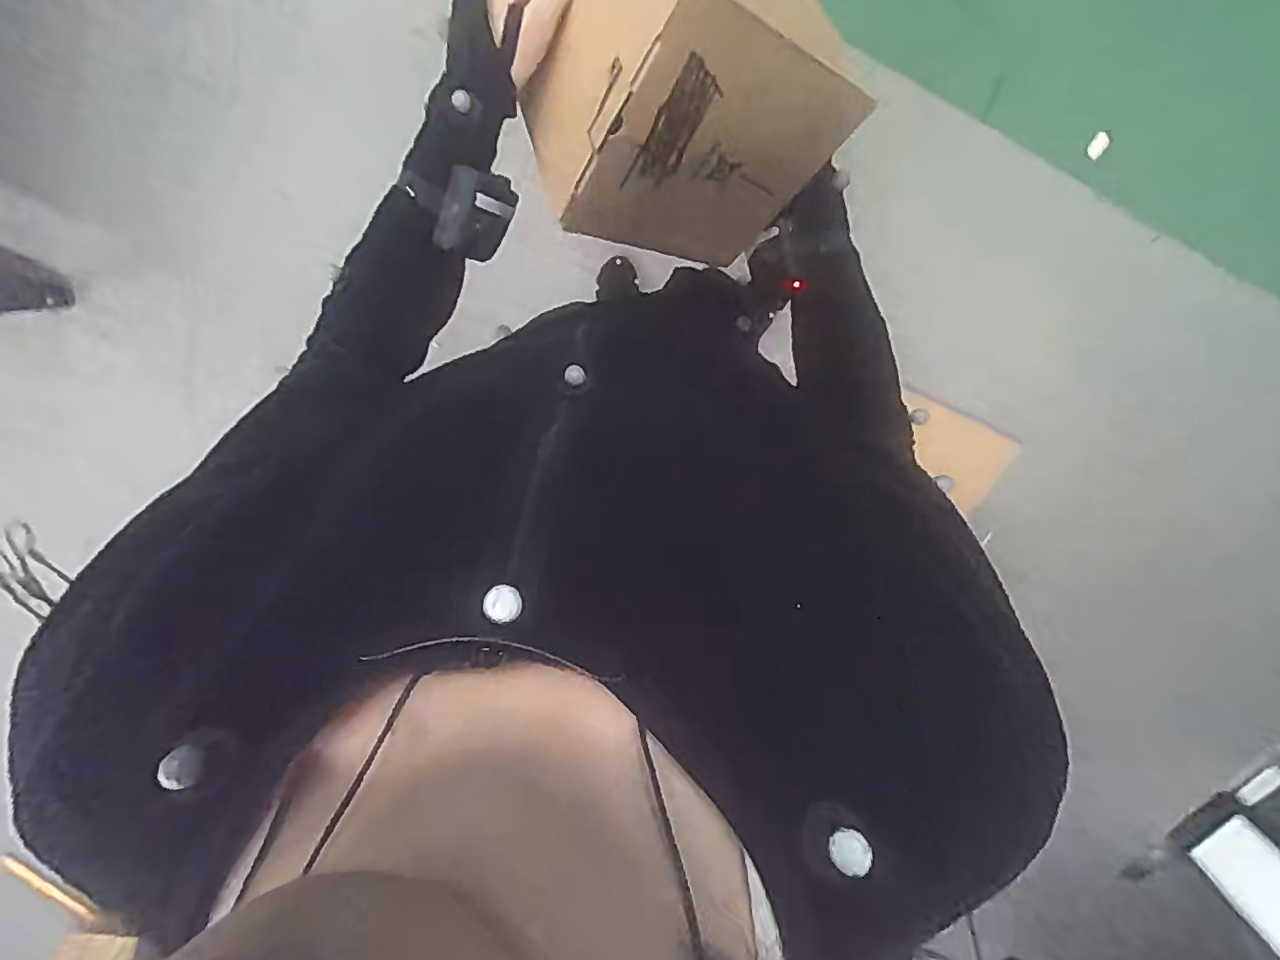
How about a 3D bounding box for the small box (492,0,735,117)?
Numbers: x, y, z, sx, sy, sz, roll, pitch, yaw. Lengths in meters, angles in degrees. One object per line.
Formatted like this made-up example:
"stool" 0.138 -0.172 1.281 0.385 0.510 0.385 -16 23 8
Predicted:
"small box" -0.021 -0.460 0.441 0.168 0.176 0.179 -2 156 -37
